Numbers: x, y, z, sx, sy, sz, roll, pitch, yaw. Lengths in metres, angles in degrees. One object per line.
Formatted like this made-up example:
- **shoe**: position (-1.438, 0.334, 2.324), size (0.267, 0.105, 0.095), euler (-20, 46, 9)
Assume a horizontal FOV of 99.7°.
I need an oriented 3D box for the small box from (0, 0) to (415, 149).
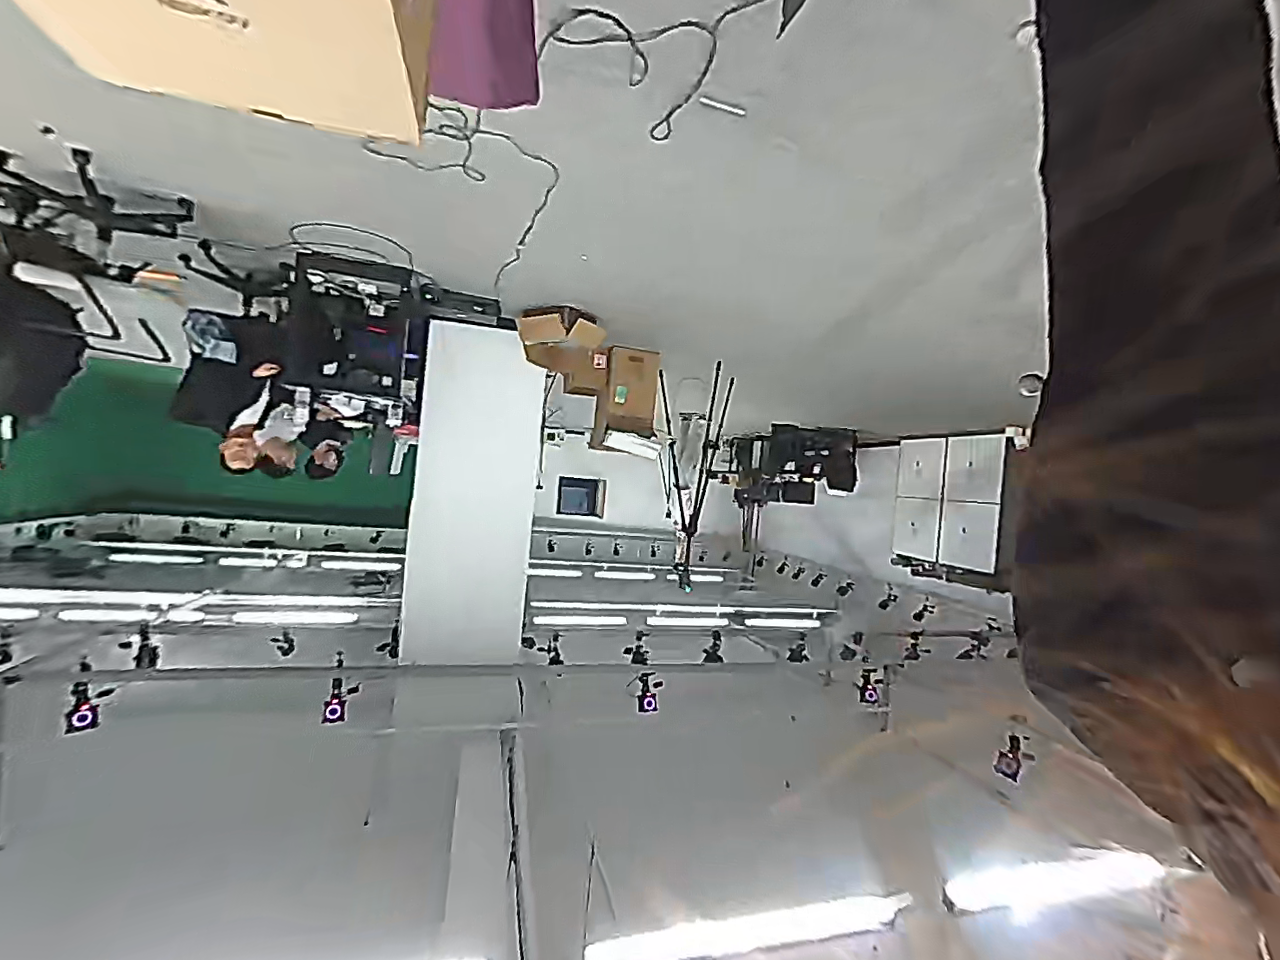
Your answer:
- **small box**: position (-0.186, -0.284, 0.219), size (0.168, 0.176, 0.179), euler (4, 179, -16)
